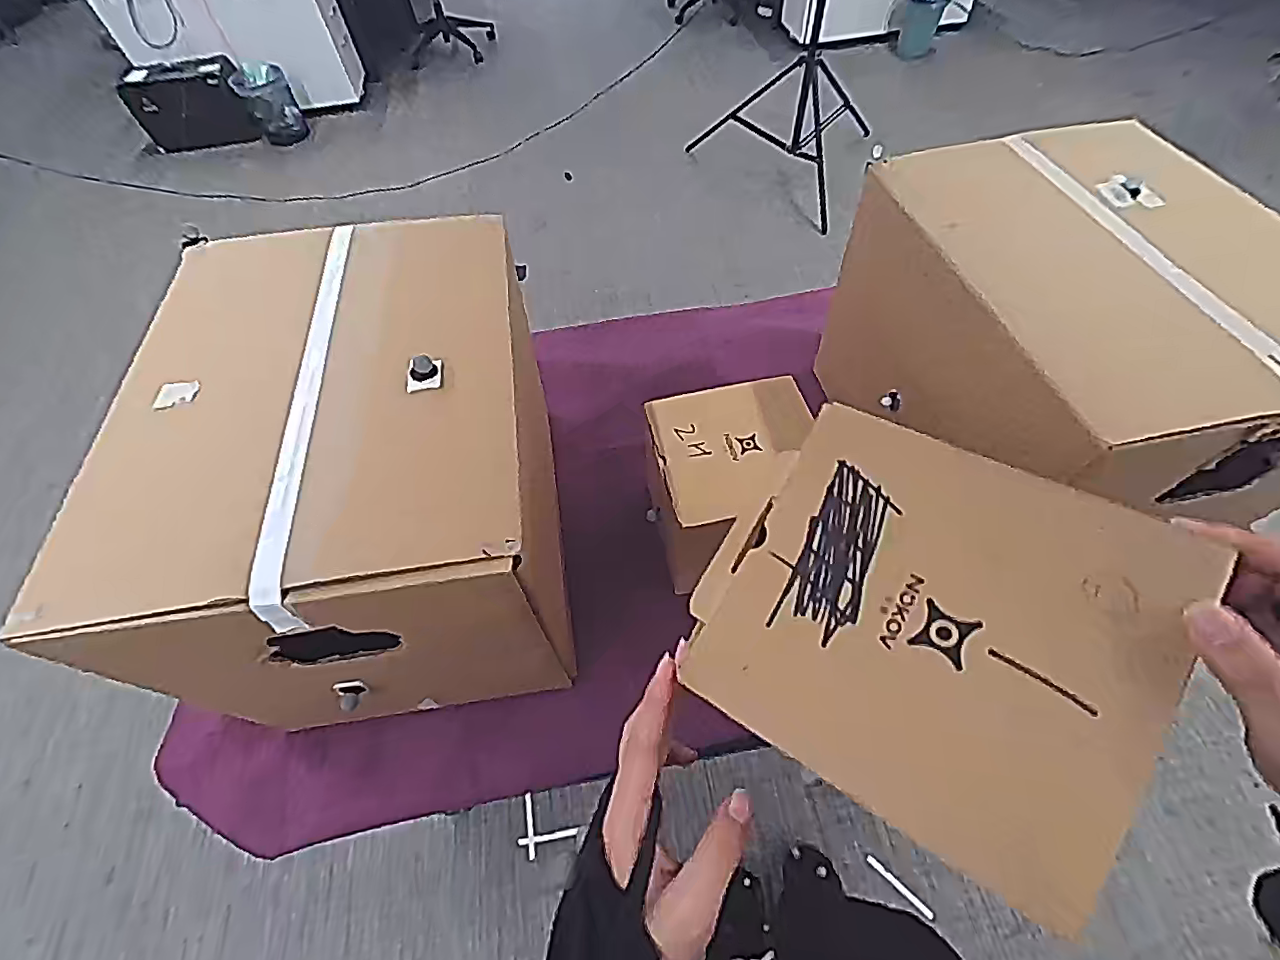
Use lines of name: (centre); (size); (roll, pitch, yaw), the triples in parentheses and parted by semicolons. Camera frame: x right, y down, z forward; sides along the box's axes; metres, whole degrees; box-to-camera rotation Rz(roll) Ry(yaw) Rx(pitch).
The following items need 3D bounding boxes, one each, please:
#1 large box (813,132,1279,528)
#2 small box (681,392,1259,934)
large box: (0.435, -0.116, 0.602); (0.320, 0.320, 0.408); (-10, 55, -4)
small box: (0.153, 0.083, 0.303); (0.179, 0.176, 0.168); (27, 81, 26)
